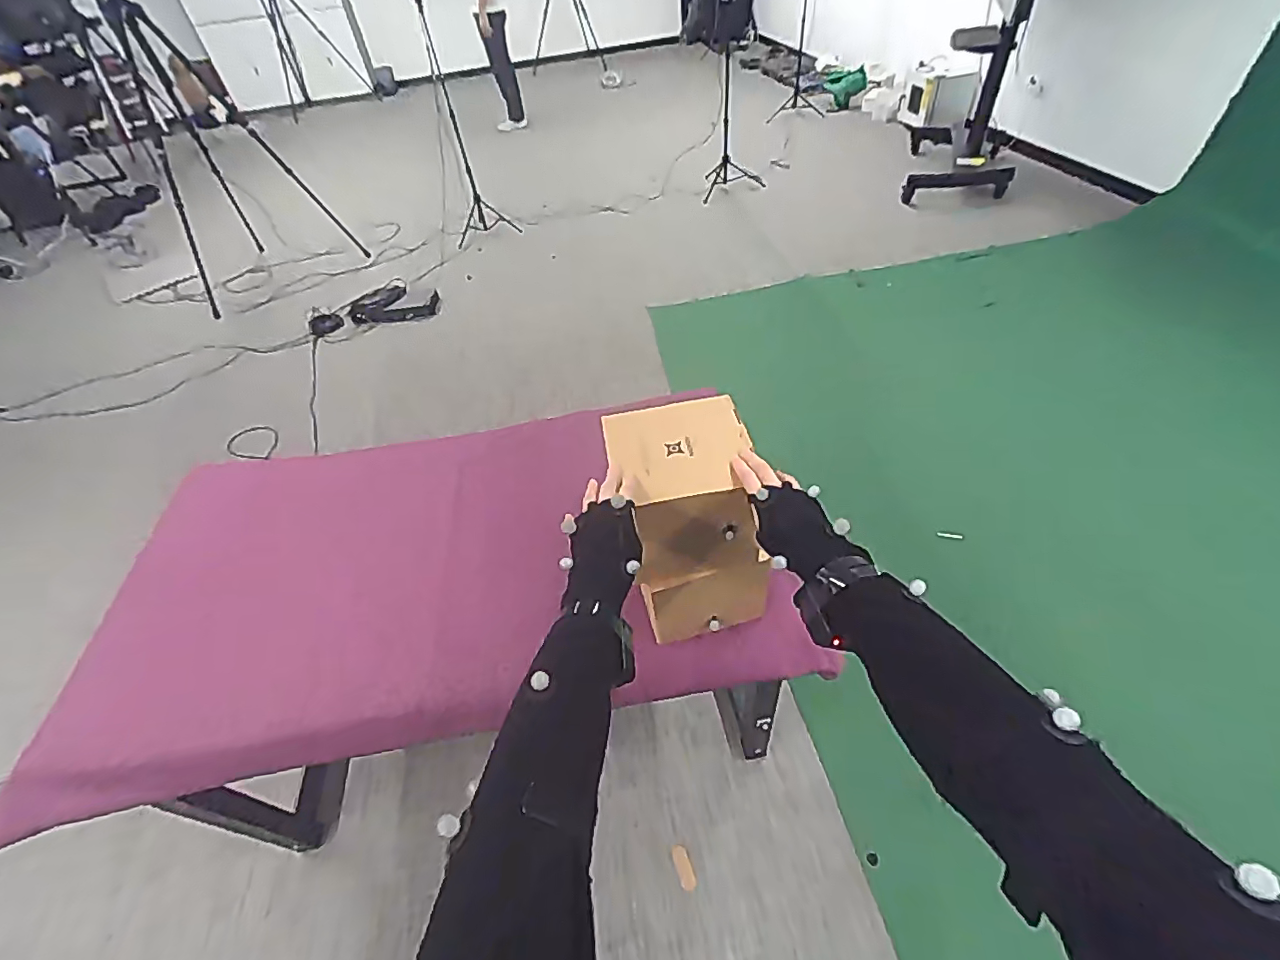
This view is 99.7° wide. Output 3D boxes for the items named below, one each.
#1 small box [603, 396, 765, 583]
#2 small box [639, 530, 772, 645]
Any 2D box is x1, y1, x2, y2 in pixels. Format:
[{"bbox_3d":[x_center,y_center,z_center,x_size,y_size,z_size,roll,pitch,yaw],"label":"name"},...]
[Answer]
[{"bbox_3d":[0.055,0.016,0.721,0.179,0.176,0.168,-10,47,0],"label":"small box"},{"bbox_3d":[0.085,0.128,0.835,0.179,0.176,0.168,-14,47,-5],"label":"small box"}]
